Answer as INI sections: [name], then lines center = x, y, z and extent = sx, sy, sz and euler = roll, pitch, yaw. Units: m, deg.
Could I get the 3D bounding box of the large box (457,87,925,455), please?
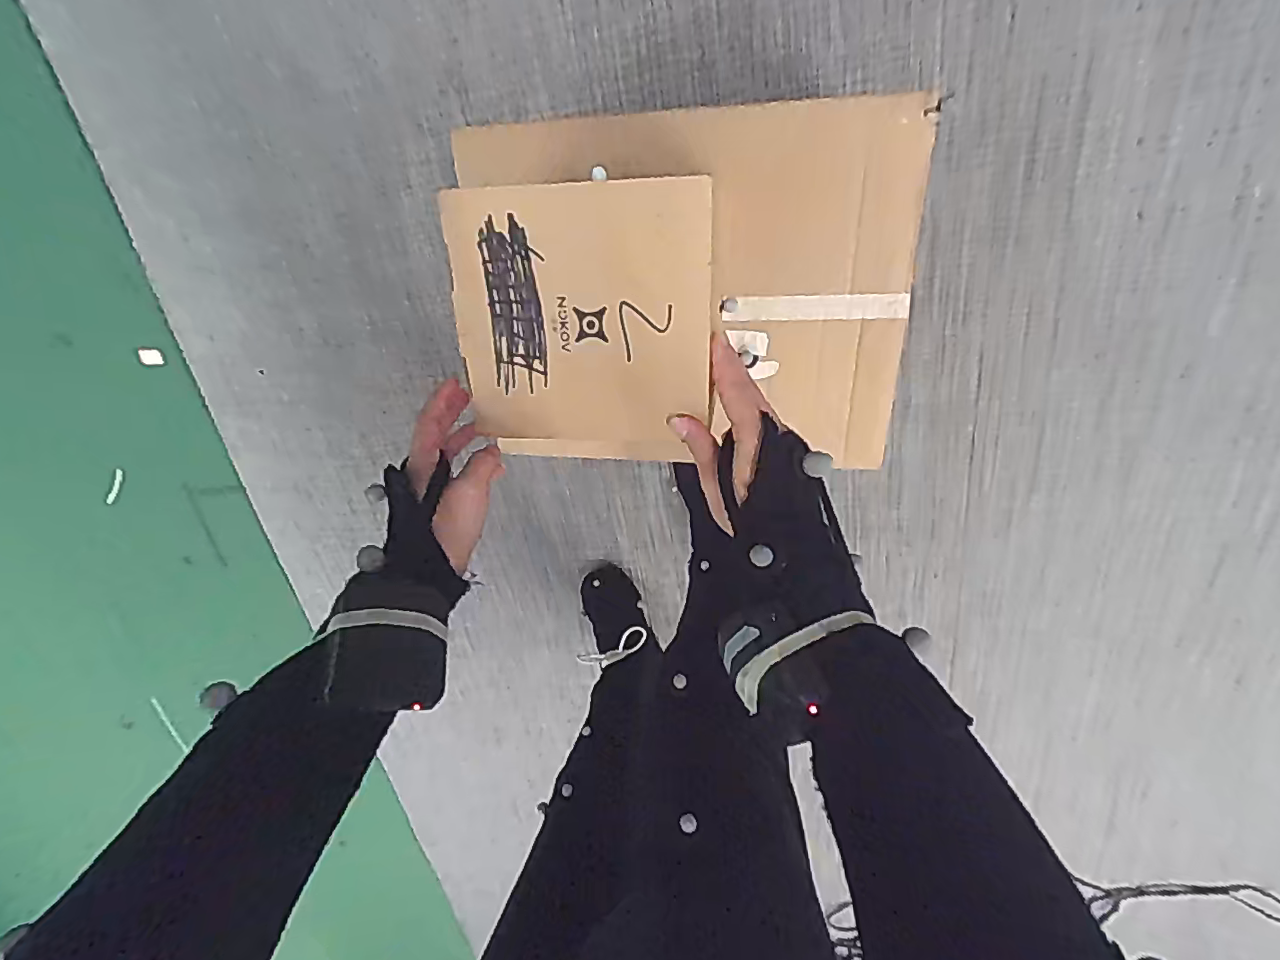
[large box]
center = 0.060, -0.227, 0.647
extent = 0.408, 0.320, 0.320
euler = 1, 115, 10
